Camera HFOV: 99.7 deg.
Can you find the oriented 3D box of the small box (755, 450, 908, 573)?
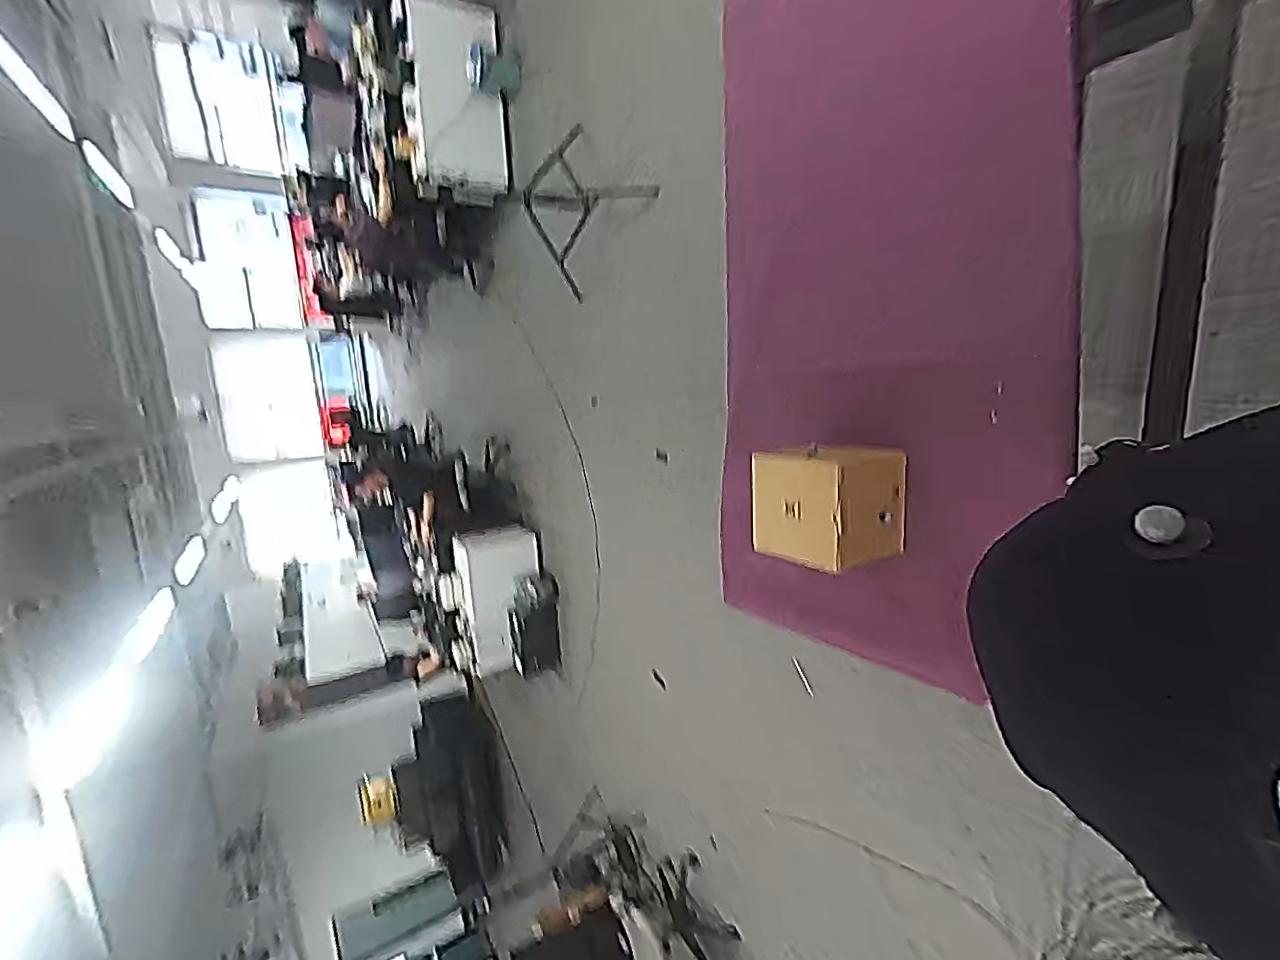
[{"bbox_3d":[0.313,0.041,0.898,0.179,0.176,0.168,10,105,56],"label":"small box"}]
